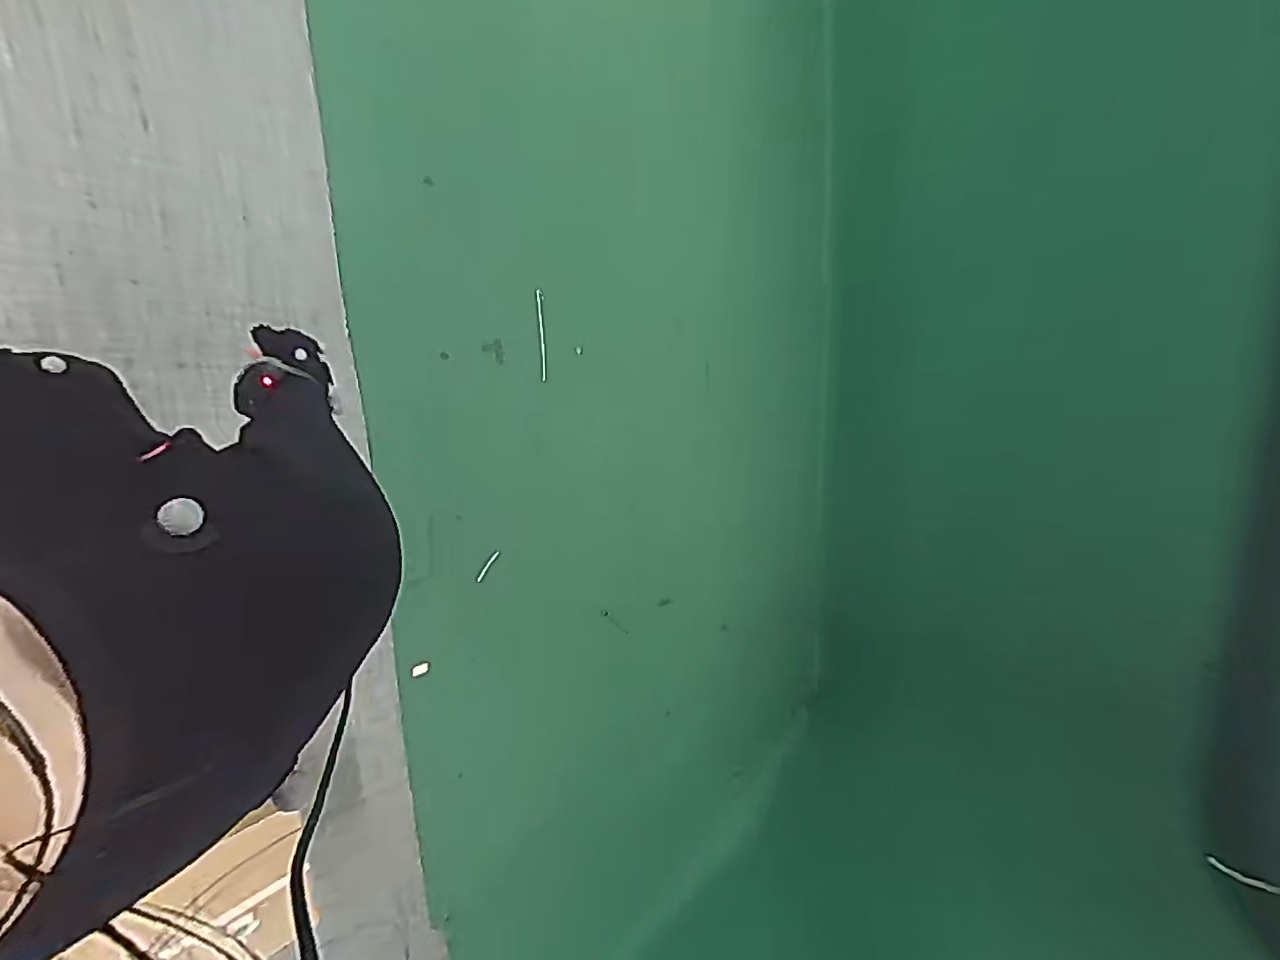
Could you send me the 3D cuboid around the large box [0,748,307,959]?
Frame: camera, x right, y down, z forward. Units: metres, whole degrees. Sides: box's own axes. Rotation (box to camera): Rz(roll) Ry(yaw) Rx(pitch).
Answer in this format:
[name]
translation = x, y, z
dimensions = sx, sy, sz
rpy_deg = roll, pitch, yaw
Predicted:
[large box]
translation = -0.989, 0.845, 1.119
dimensions = 0.408, 0.320, 0.320
rpy_deg = -14, 105, -50
